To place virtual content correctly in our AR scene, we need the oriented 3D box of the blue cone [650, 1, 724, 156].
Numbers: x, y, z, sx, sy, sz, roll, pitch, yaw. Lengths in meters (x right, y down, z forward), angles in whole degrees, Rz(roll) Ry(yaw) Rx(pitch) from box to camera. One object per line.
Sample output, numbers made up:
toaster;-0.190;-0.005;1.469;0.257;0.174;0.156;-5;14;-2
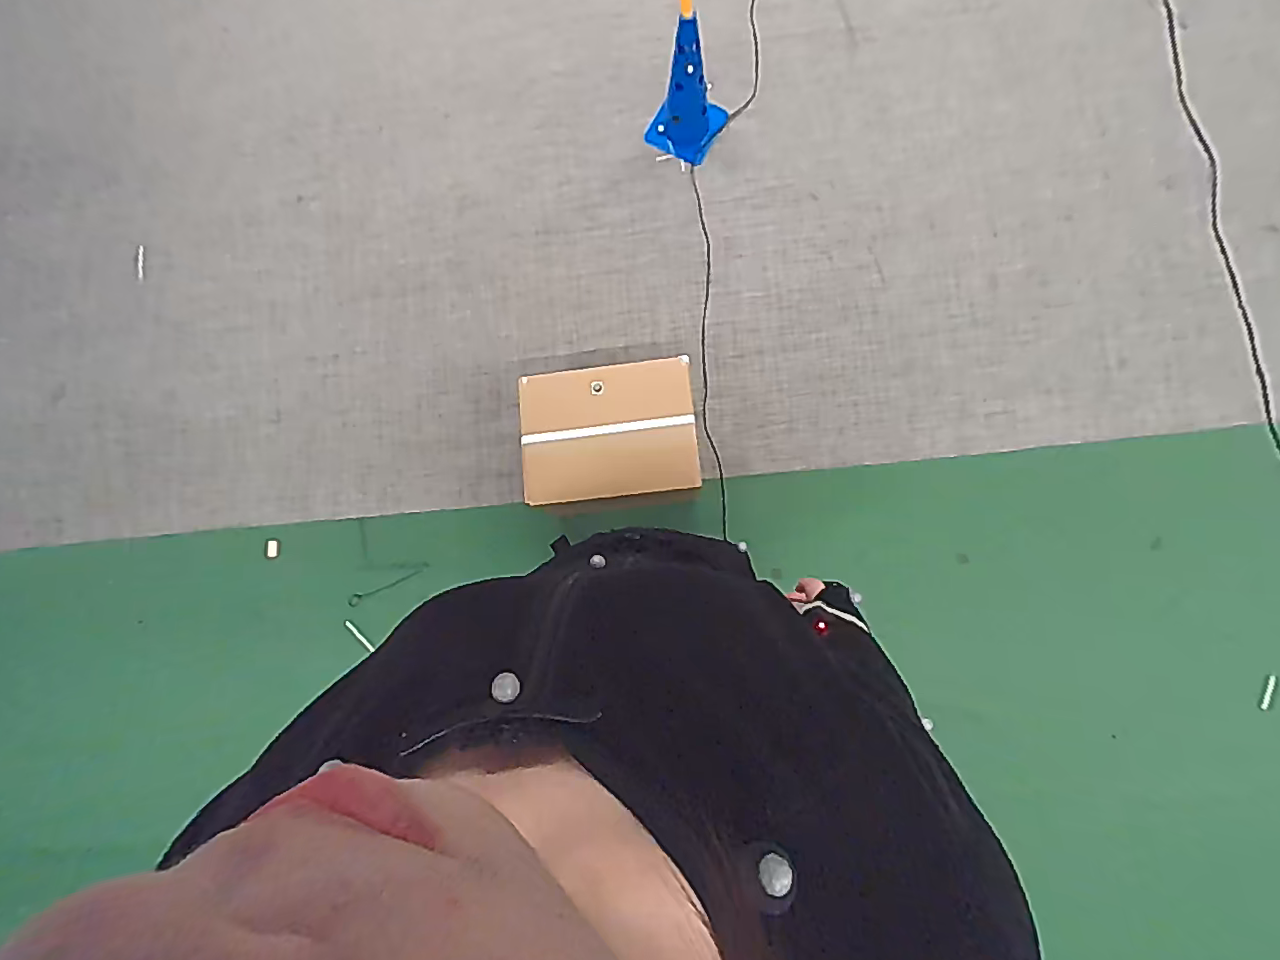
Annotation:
blue cone;0.128;-1.091;1.457;0.192;0.380;0.193;27;87;7
